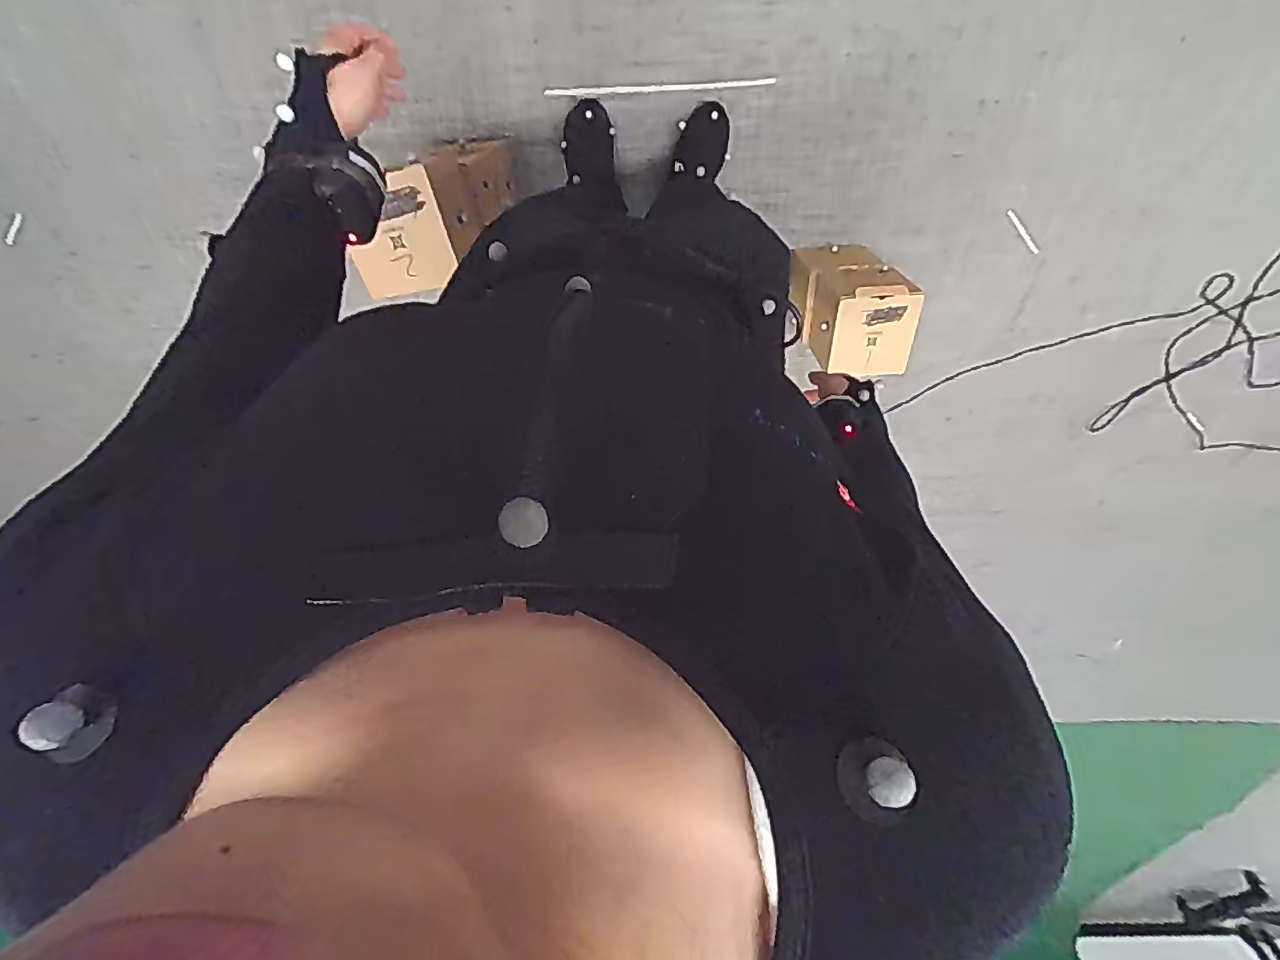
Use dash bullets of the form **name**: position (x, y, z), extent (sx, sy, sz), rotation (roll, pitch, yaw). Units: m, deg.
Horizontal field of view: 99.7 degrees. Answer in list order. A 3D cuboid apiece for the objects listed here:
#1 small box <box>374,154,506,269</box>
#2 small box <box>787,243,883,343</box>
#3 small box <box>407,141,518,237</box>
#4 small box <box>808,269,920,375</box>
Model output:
- **small box**: position (-0.372, -0.524, 1.051), extent (0.179, 0.176, 0.168), rotation (-4, 125, 6)
- **small box**: position (0.453, -0.447, 1.289), extent (0.168, 0.176, 0.179), rotation (-4, 127, 3)
- **small box**: position (-0.371, -0.630, 1.175), extent (0.179, 0.176, 0.168), rotation (-3, 126, 3)
- **small box**: position (0.468, -0.344, 1.161), extent (0.168, 0.176, 0.179), rotation (-2, 128, 3)
